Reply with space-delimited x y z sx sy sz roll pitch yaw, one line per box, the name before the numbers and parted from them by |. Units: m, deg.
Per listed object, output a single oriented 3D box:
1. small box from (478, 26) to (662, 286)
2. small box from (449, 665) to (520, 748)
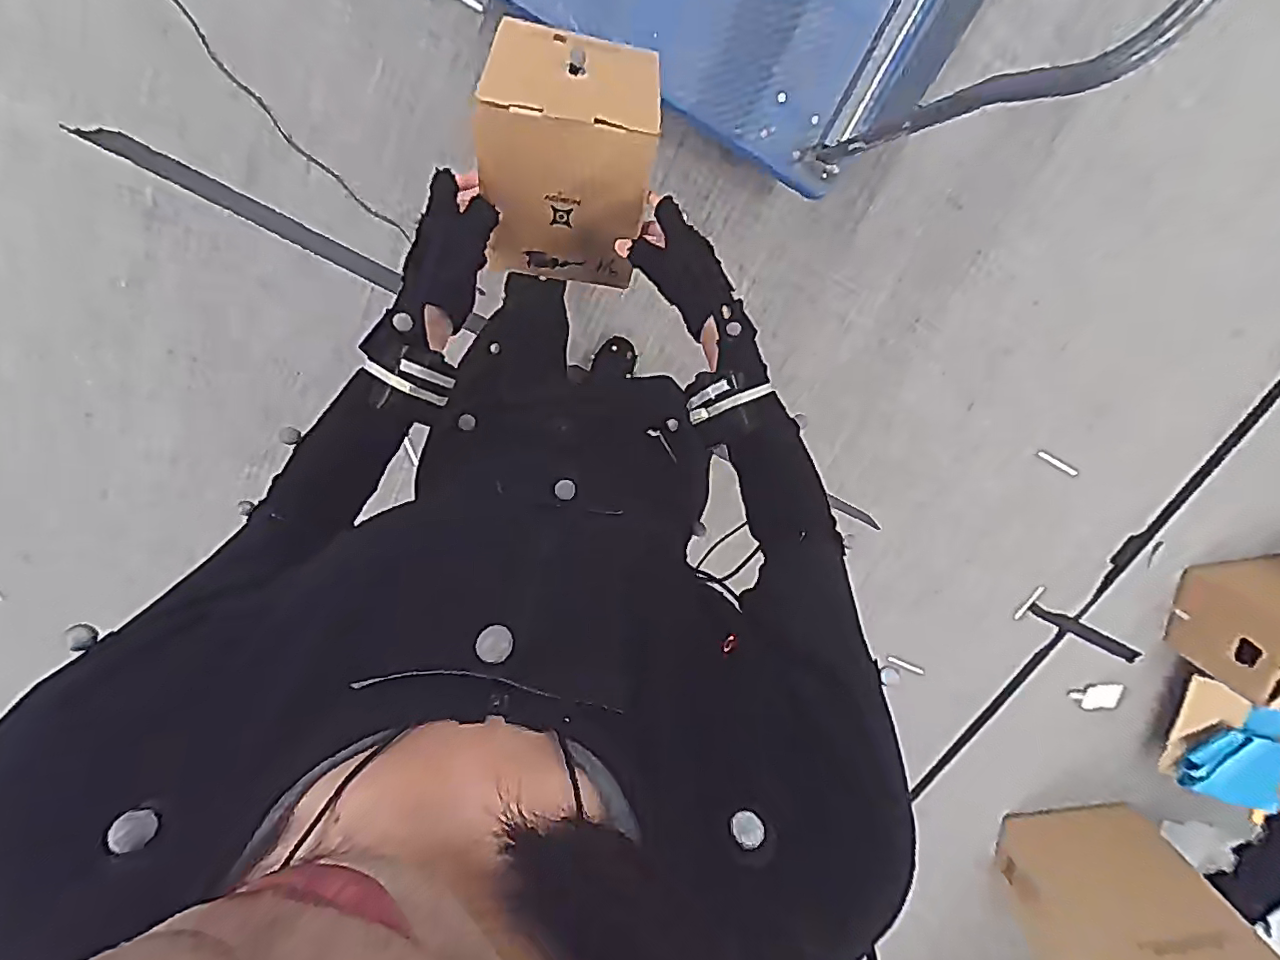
small box | -0.077 -0.348 0.588 0.168 0.176 0.179 7 147 -9
small box | -0.488 0.711 1.713 0.179 0.176 0.168 12 111 -9
